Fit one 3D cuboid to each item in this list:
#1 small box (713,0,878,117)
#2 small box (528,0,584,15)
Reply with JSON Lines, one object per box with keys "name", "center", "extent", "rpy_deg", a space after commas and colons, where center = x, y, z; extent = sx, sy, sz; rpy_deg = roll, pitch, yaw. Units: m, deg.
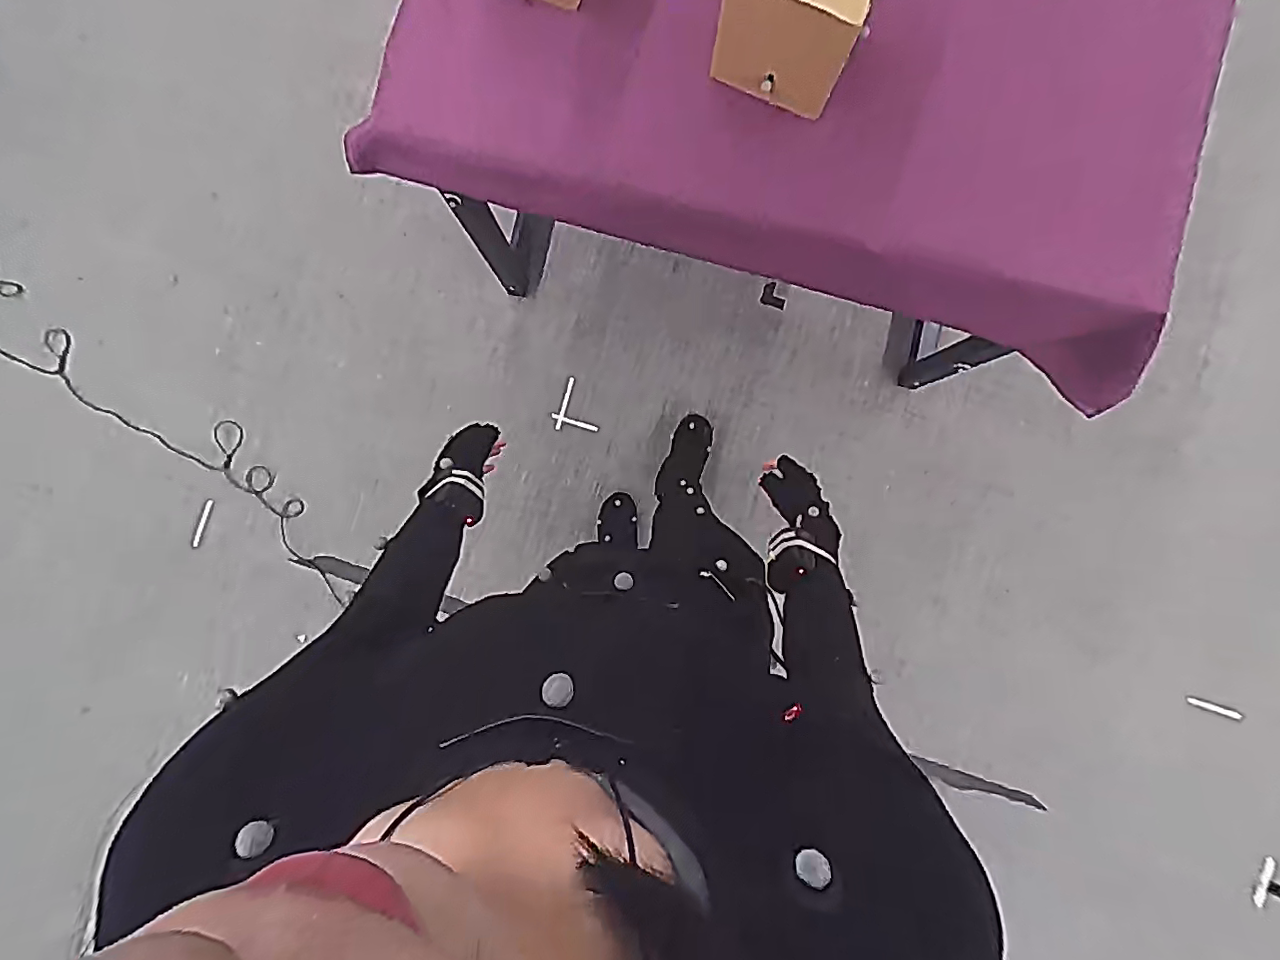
{"name": "small box", "center": [0.216, -0.638, 0.728], "extent": [0.179, 0.176, 0.168], "rpy_deg": [23, 88, 0]}
{"name": "small box", "center": [-0.140, -0.802, 0.731], "extent": [0.168, 0.176, 0.179], "rpy_deg": [19, 90, 1]}
